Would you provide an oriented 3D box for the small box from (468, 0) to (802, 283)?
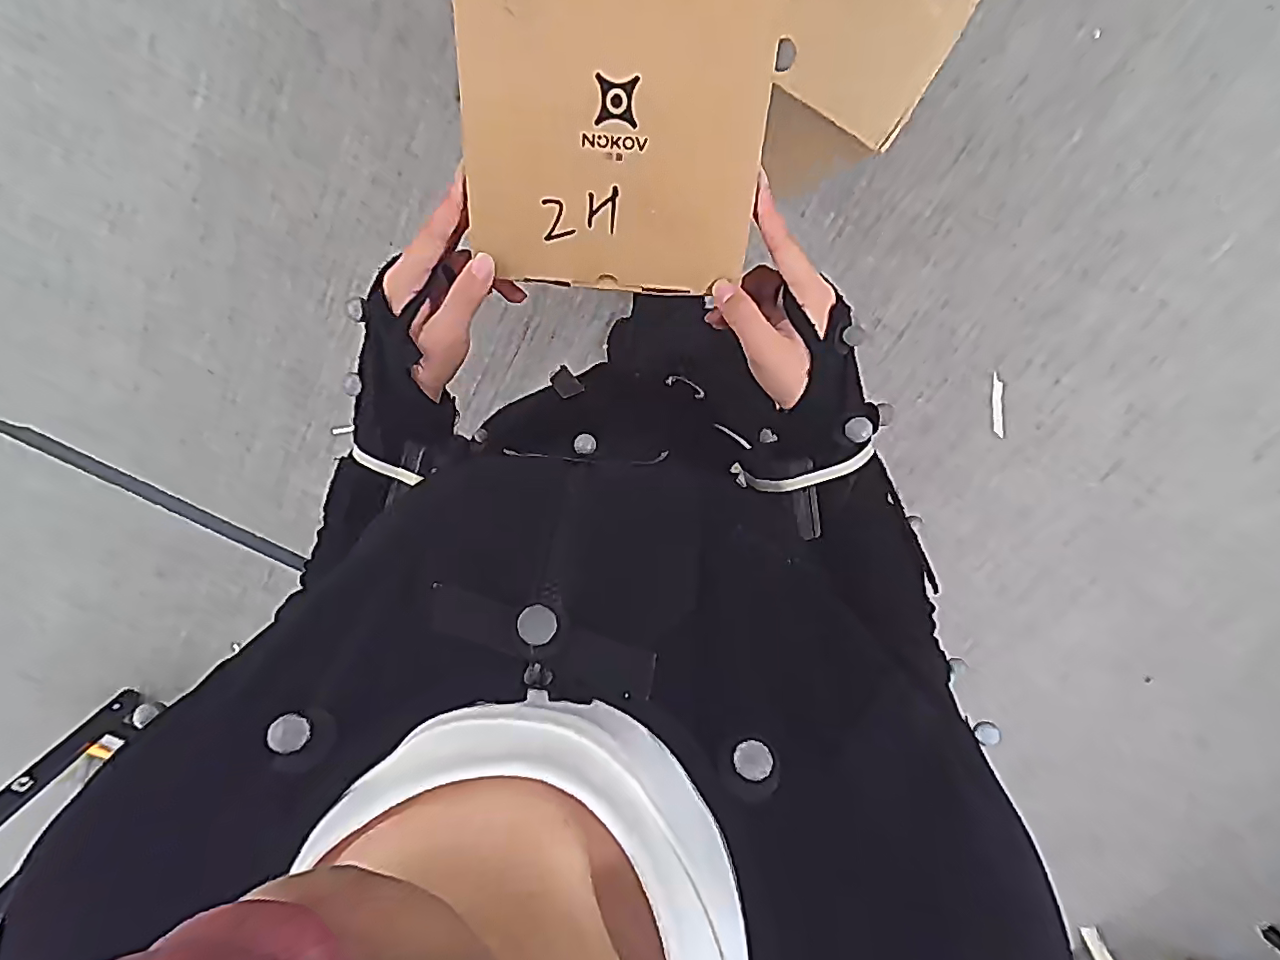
[{"bbox_3d":[-0.006,-0.237,0.351,0.168,0.176,0.179,5,118,-1],"label":"small box"}]
